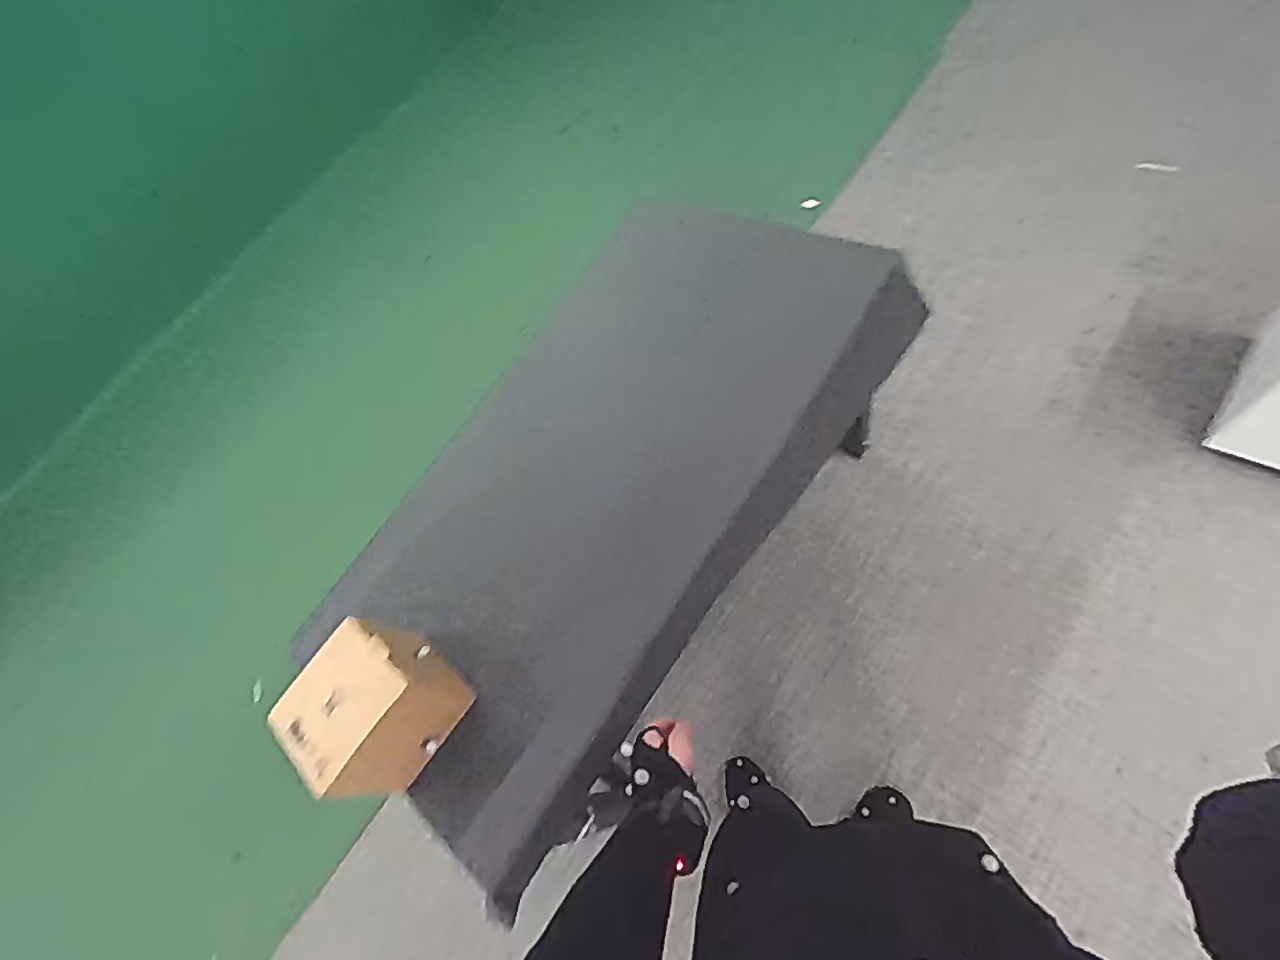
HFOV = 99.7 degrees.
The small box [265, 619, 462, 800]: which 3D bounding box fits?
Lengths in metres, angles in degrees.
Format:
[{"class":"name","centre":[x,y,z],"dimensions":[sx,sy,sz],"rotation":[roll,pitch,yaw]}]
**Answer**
[{"class":"small box","centre":[-0.397,0.342,0.811],"dimensions":[0.168,0.176,0.179],"rotation":[31,77,30]}]
